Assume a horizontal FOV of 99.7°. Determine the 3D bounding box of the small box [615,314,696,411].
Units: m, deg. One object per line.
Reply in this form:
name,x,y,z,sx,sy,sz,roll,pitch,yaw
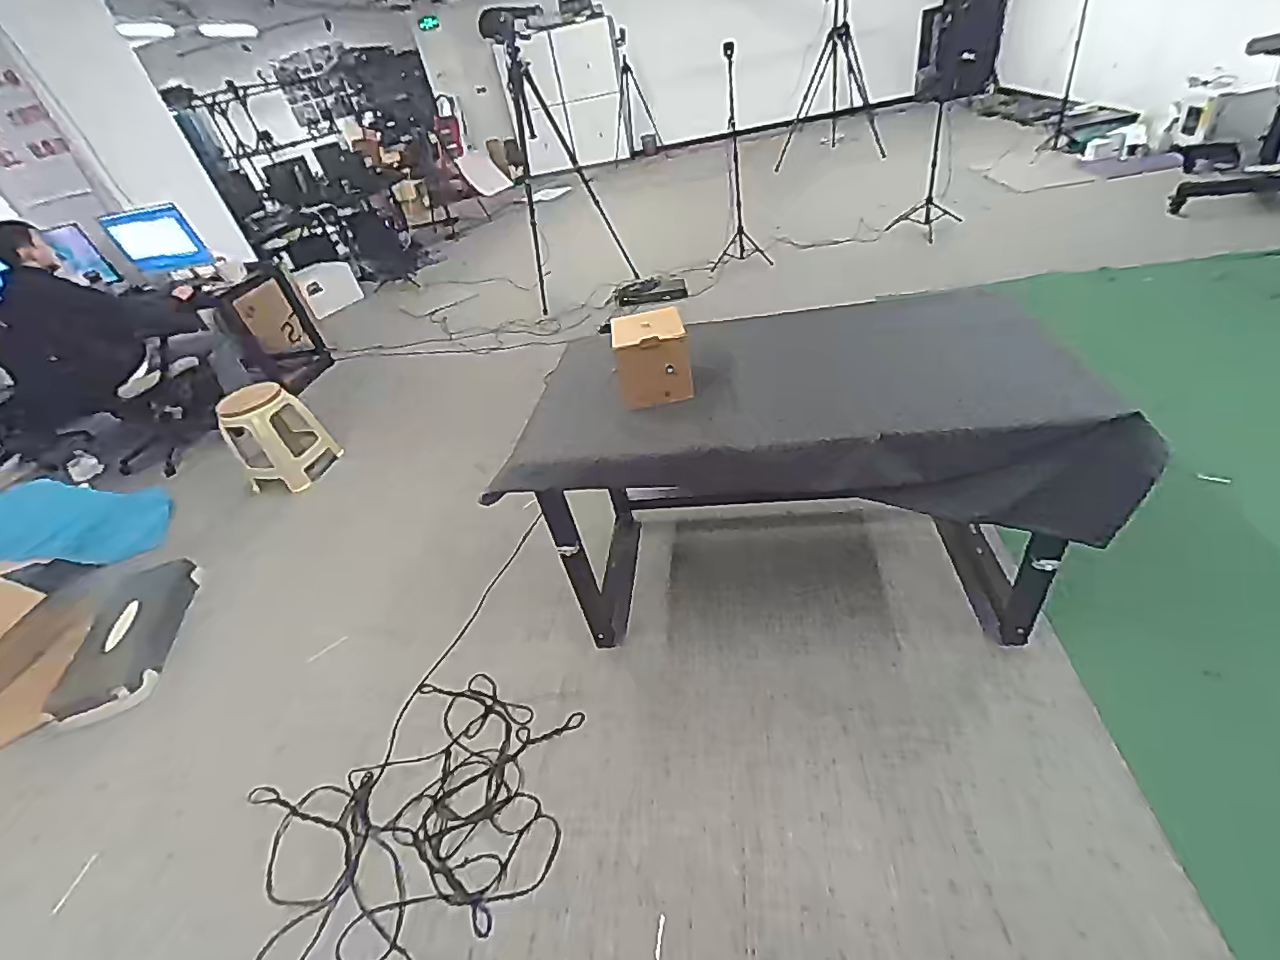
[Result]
small box,0.036,-0.277,1.307,0.168,0.176,0.179,-10,36,2
